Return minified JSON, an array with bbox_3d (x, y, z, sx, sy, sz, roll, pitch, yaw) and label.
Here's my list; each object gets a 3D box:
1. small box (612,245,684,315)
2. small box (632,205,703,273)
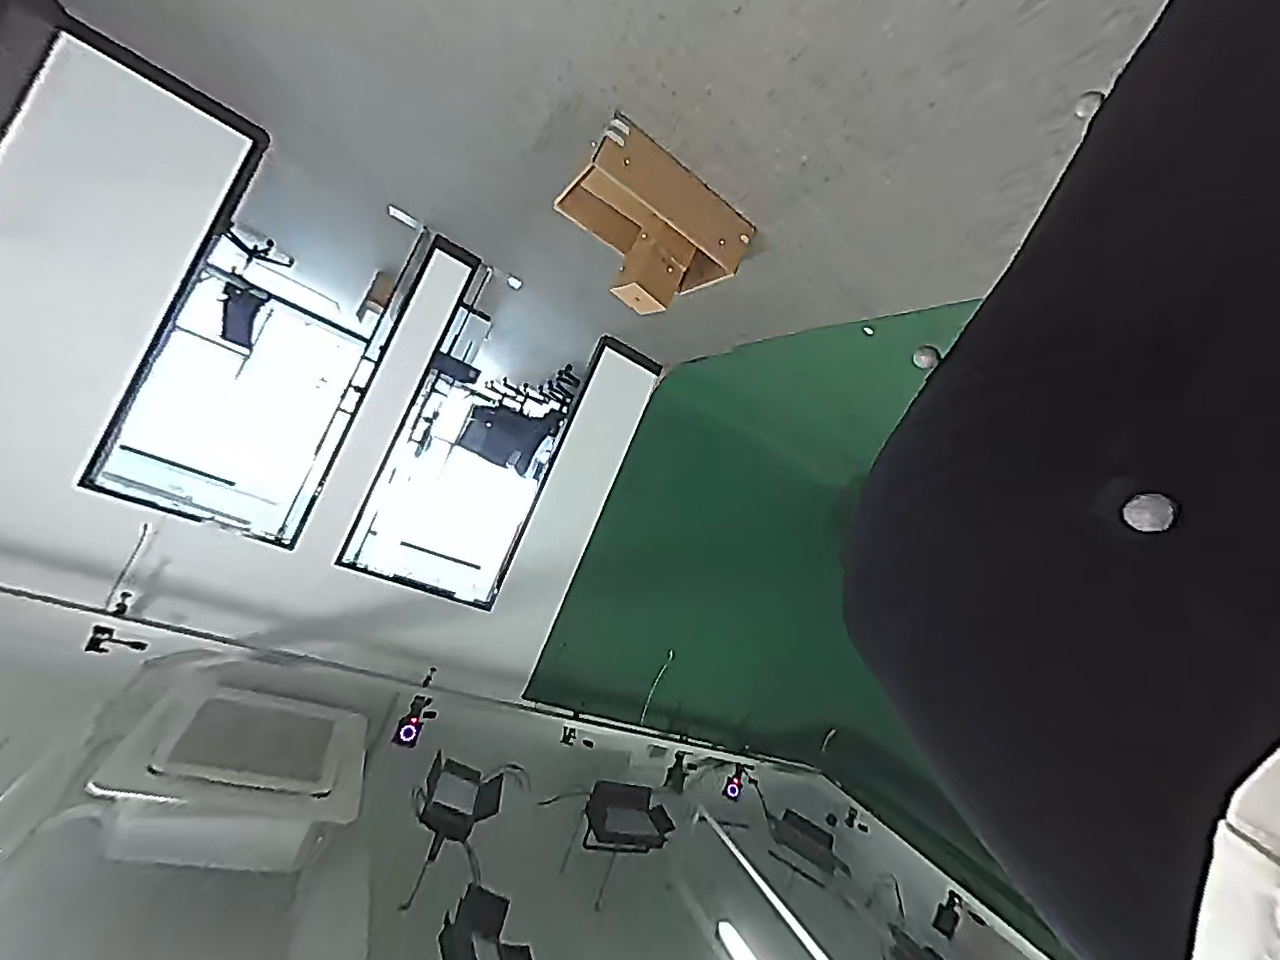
[{"bbox_3d":[0.032,-0.736,1.996,0.168,0.176,0.179,30,171,-34],"label":"small box"},{"bbox_3d":[0.105,-0.881,2.010,0.168,0.176,0.179,30,171,-31],"label":"small box"}]
